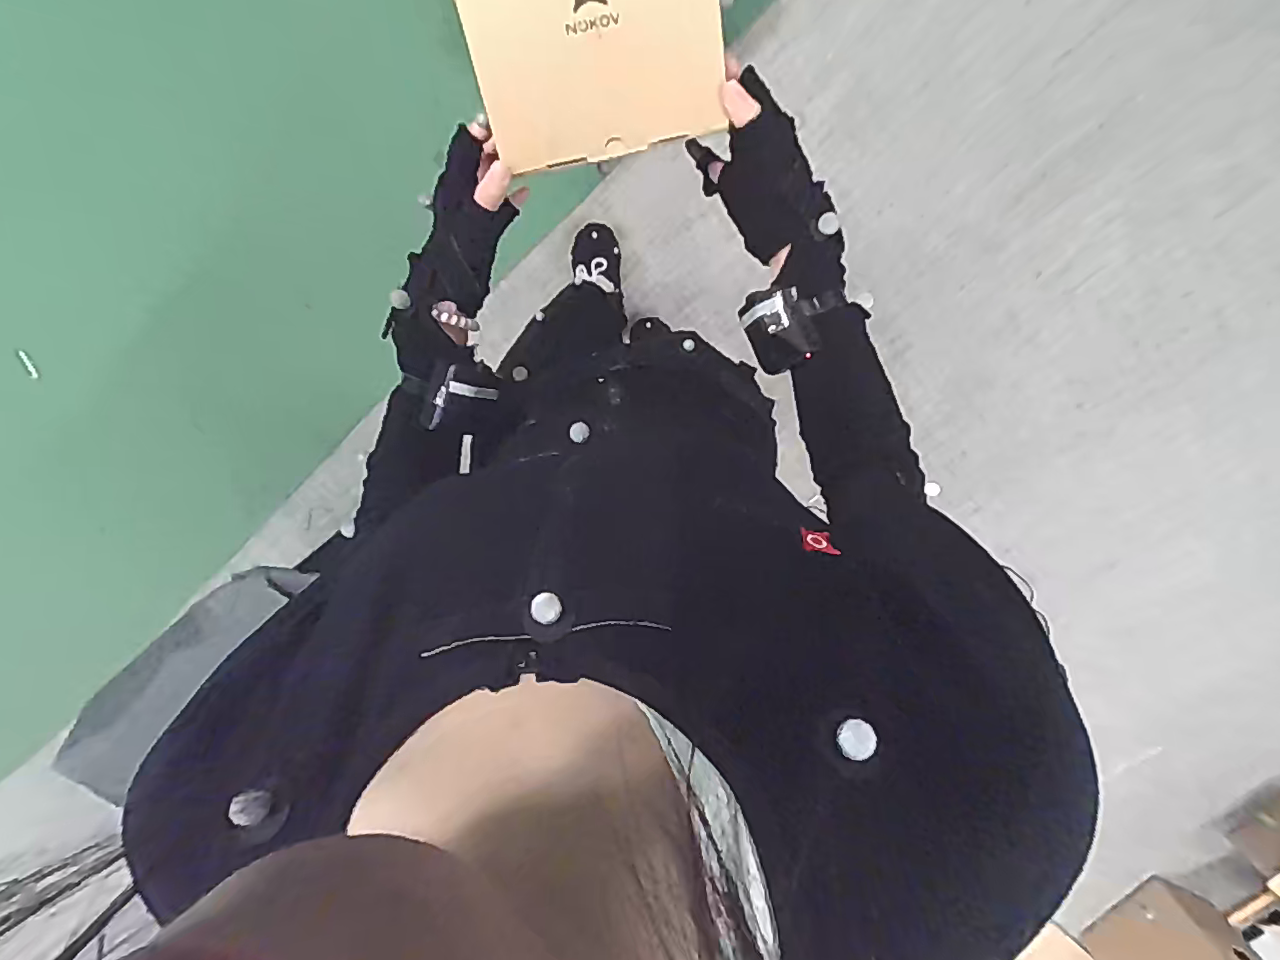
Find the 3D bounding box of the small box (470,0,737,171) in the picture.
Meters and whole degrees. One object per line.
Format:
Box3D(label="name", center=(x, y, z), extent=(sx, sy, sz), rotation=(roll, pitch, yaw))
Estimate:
Box3D(label="small box", center=(-0.032, -0.348, 0.407), extent=(0.168, 0.176, 0.179), rotation=(-11, 123, 2))
